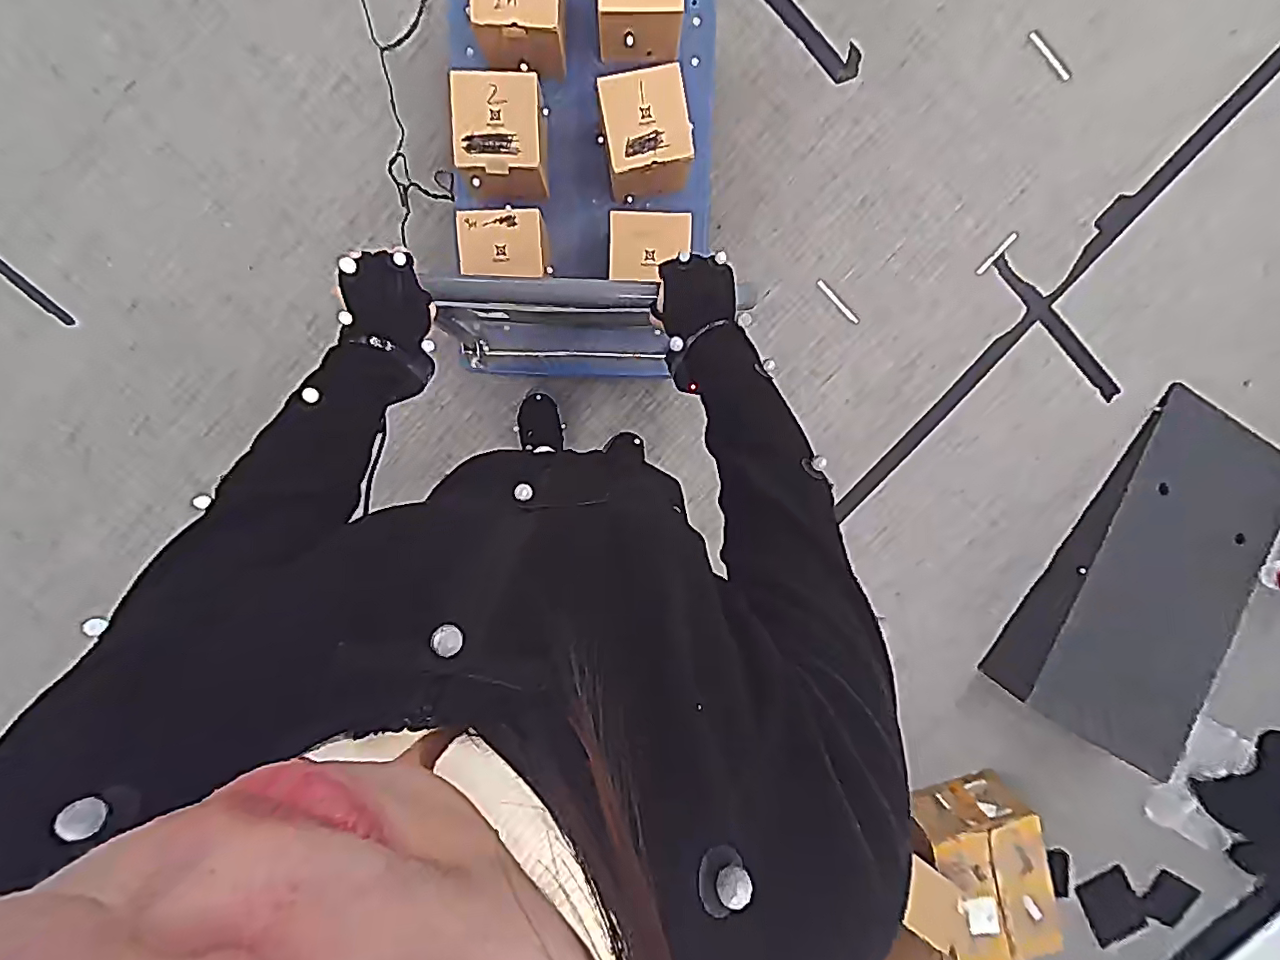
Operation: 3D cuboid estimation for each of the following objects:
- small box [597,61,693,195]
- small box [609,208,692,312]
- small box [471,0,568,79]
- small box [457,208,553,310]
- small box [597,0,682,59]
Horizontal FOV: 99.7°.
[{"bbox_3d":[0.009,-0.720,1.132,0.168,0.176,0.179,-11,98,-1],"label":"small box"},{"bbox_3d":[0.019,-0.466,1.172,0.168,0.176,0.179,1,98,-3],"label":"small box"},{"bbox_3d":[-0.236,-0.955,1.086,0.168,0.176,0.179,2,99,-2],"label":"small box"},{"bbox_3d":[-0.280,-0.464,1.157,0.168,0.176,0.179,-3,99,-3],"label":"small box"},{"bbox_3d":[-0.003,-0.990,1.092,0.168,0.176,0.179,-2,98,-2],"label":"small box"}]
